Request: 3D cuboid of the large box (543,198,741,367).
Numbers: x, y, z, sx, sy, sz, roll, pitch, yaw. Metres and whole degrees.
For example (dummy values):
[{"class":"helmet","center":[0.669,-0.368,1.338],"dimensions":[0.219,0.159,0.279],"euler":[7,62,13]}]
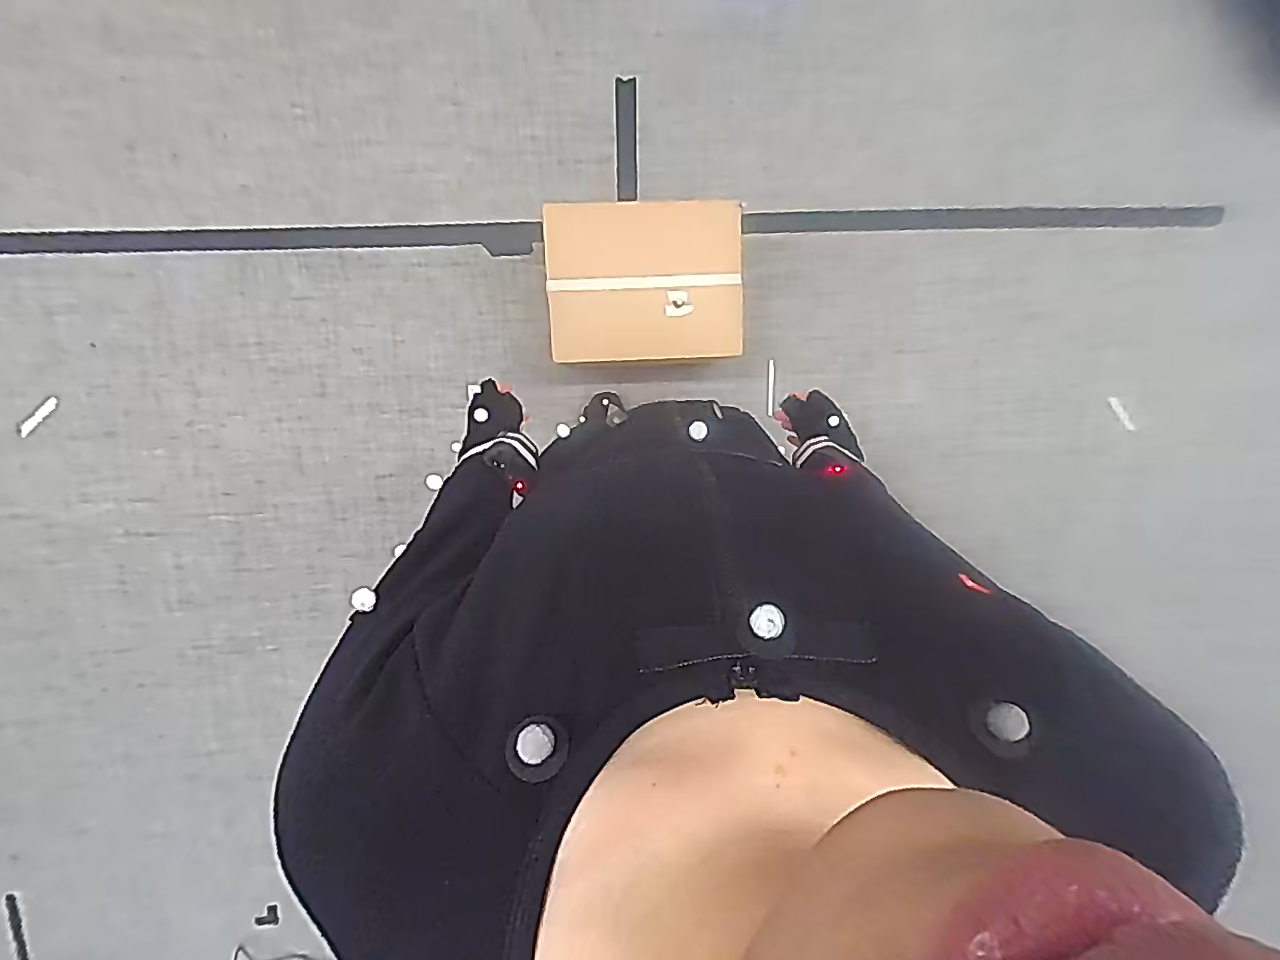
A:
[{"class":"large box","center":[-0.002,-0.439,1.266],"dimensions":[0.408,0.320,0.320],"euler":[-3,101,-4]}]
